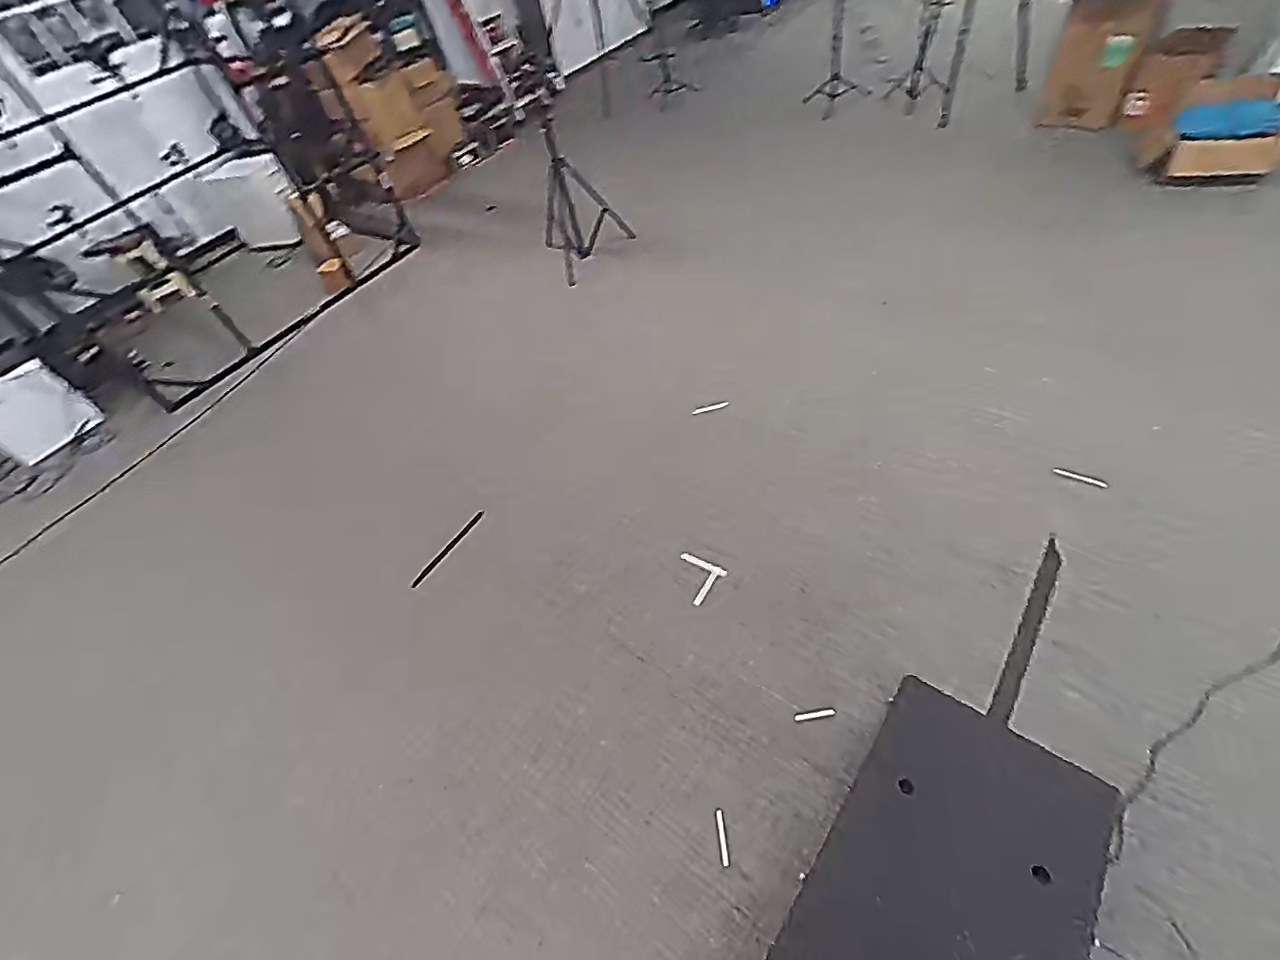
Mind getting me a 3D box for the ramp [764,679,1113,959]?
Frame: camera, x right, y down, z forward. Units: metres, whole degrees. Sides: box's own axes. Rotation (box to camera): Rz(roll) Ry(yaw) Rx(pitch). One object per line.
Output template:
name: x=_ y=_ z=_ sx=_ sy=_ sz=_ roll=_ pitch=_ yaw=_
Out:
ramp: x=0.611 y=0.915 z=1.124 sx=0.509 sy=0.206 sz=0.991 roll=23 pitch=59 yaw=31
